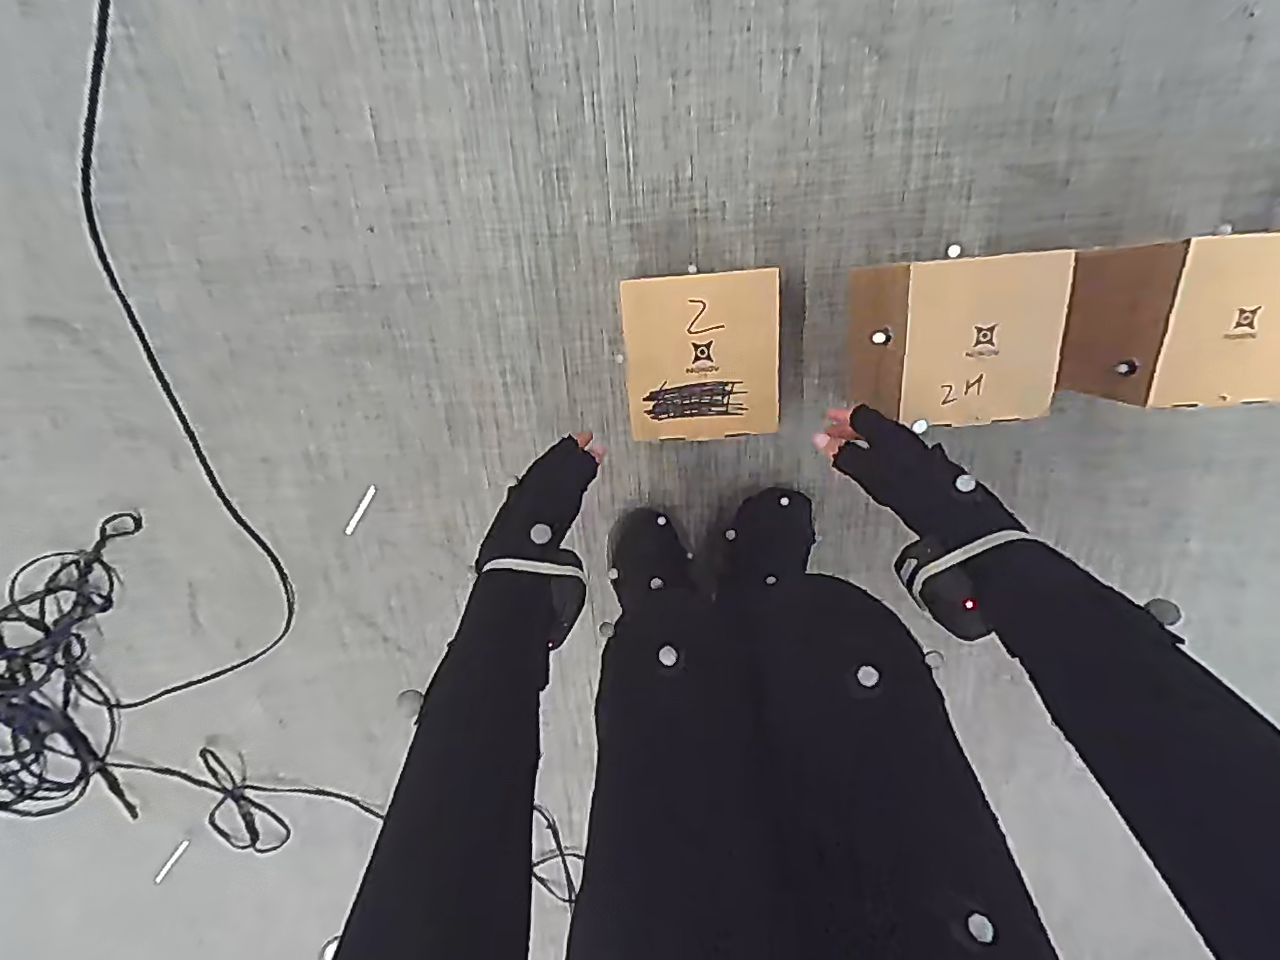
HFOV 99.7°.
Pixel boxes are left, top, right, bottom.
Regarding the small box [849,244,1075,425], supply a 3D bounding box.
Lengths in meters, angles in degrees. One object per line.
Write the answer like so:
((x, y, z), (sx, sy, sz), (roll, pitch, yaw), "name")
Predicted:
((0.360, -0.173, 0.642), (0.168, 0.176, 0.179), (-4, 109, 3), "small box")

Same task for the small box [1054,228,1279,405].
((0.627, -0.192, 0.636), (0.168, 0.176, 0.179), (-3, 109, 1), "small box")
